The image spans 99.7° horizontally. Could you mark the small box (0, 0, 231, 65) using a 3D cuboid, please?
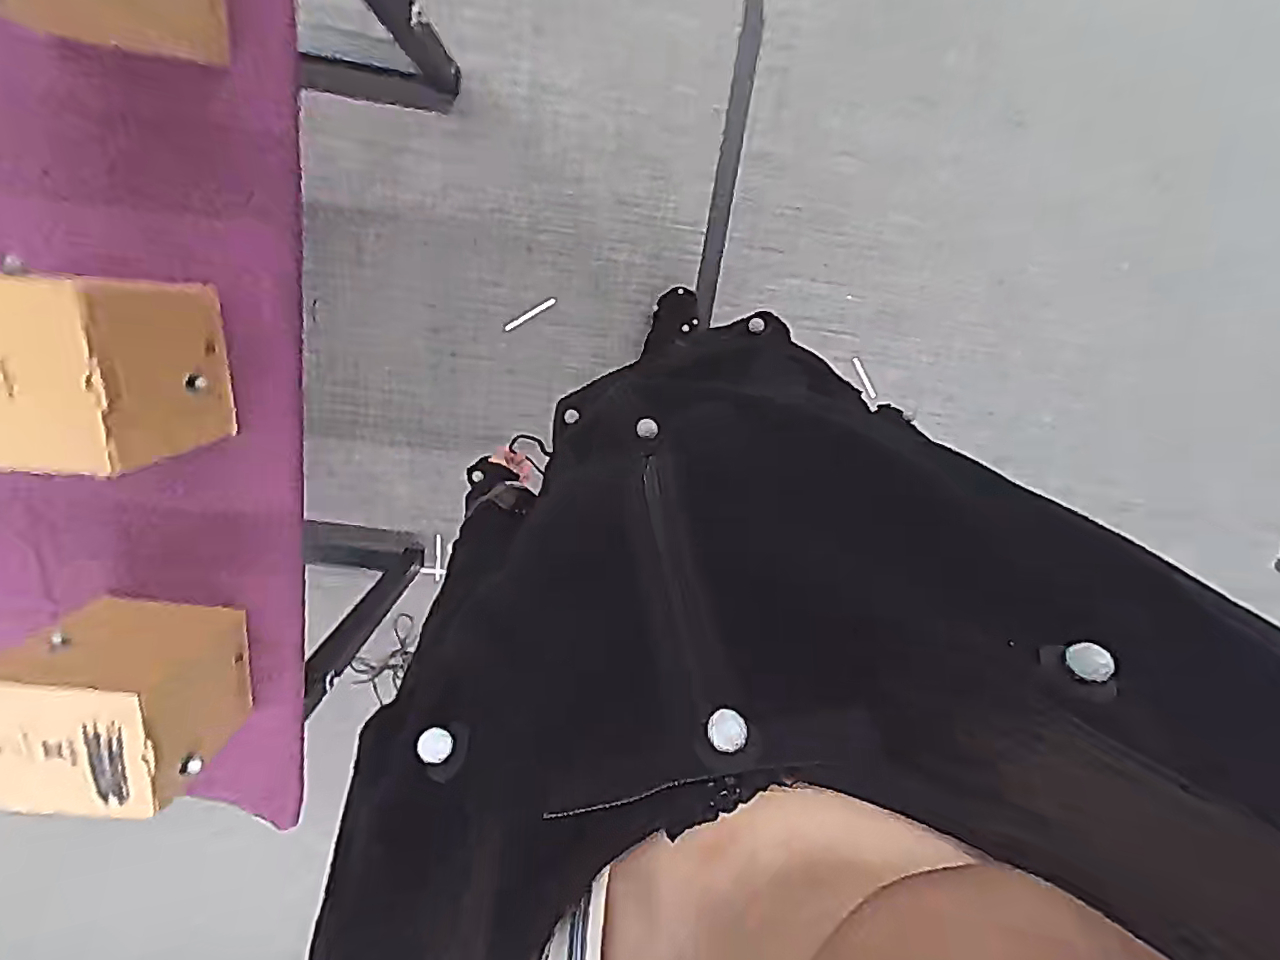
[{"bbox_3d":[-0.471,-0.463,0.423,0.179,0.176,0.168,7,108,-5],"label":"small box"}]

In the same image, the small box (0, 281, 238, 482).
[{"bbox_3d":[-0.548,-0.104,0.532,0.179,0.176,0.168,3,107,-5],"label":"small box"}]
